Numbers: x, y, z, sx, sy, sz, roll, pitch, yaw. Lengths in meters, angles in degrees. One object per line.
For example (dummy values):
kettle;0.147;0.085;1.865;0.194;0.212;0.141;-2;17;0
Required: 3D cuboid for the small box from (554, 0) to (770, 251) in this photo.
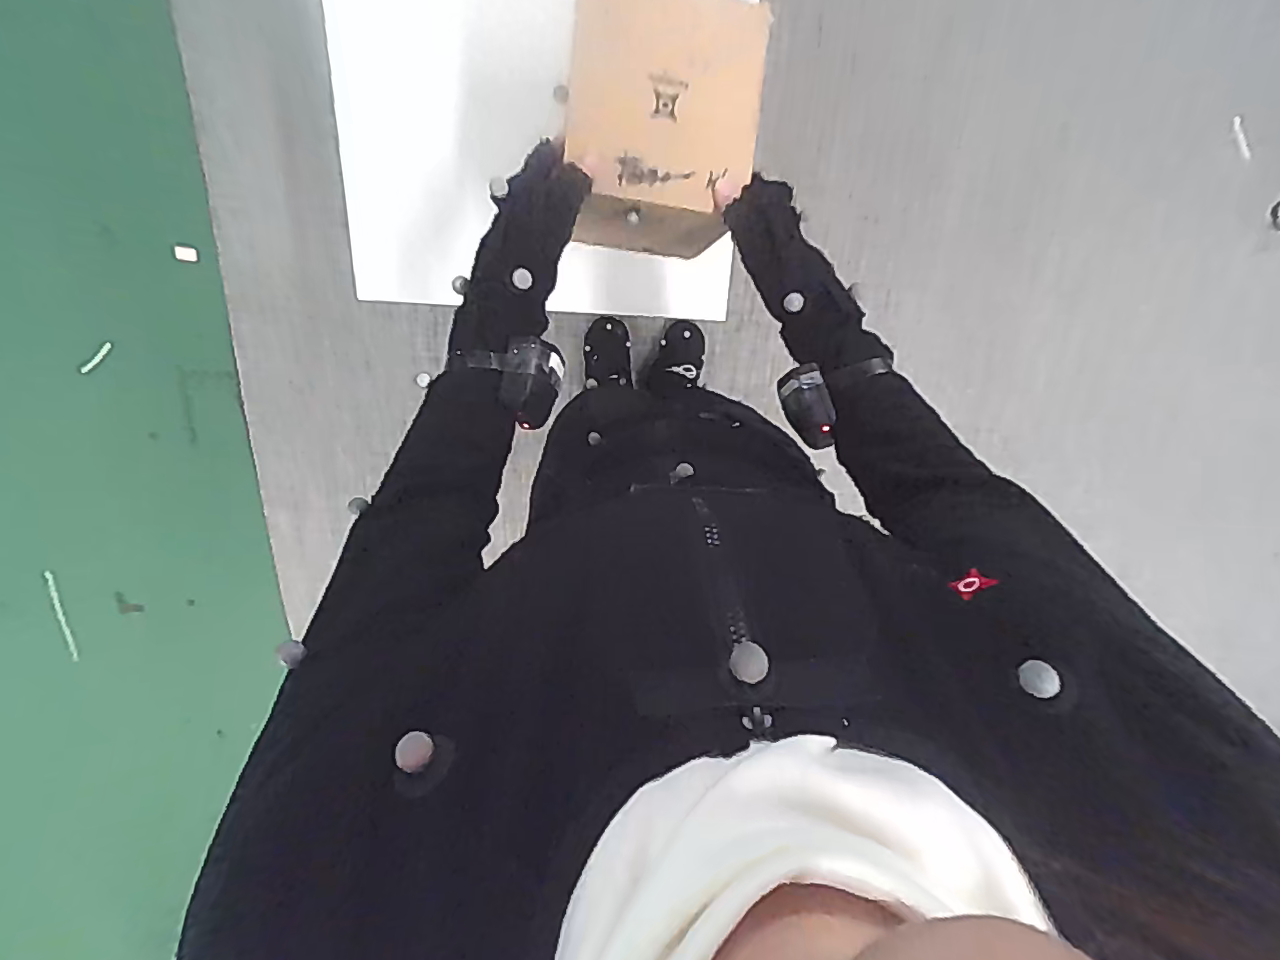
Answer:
small box;0.007;-0.342;0.523;0.168;0.176;0.179;4;99;-11
